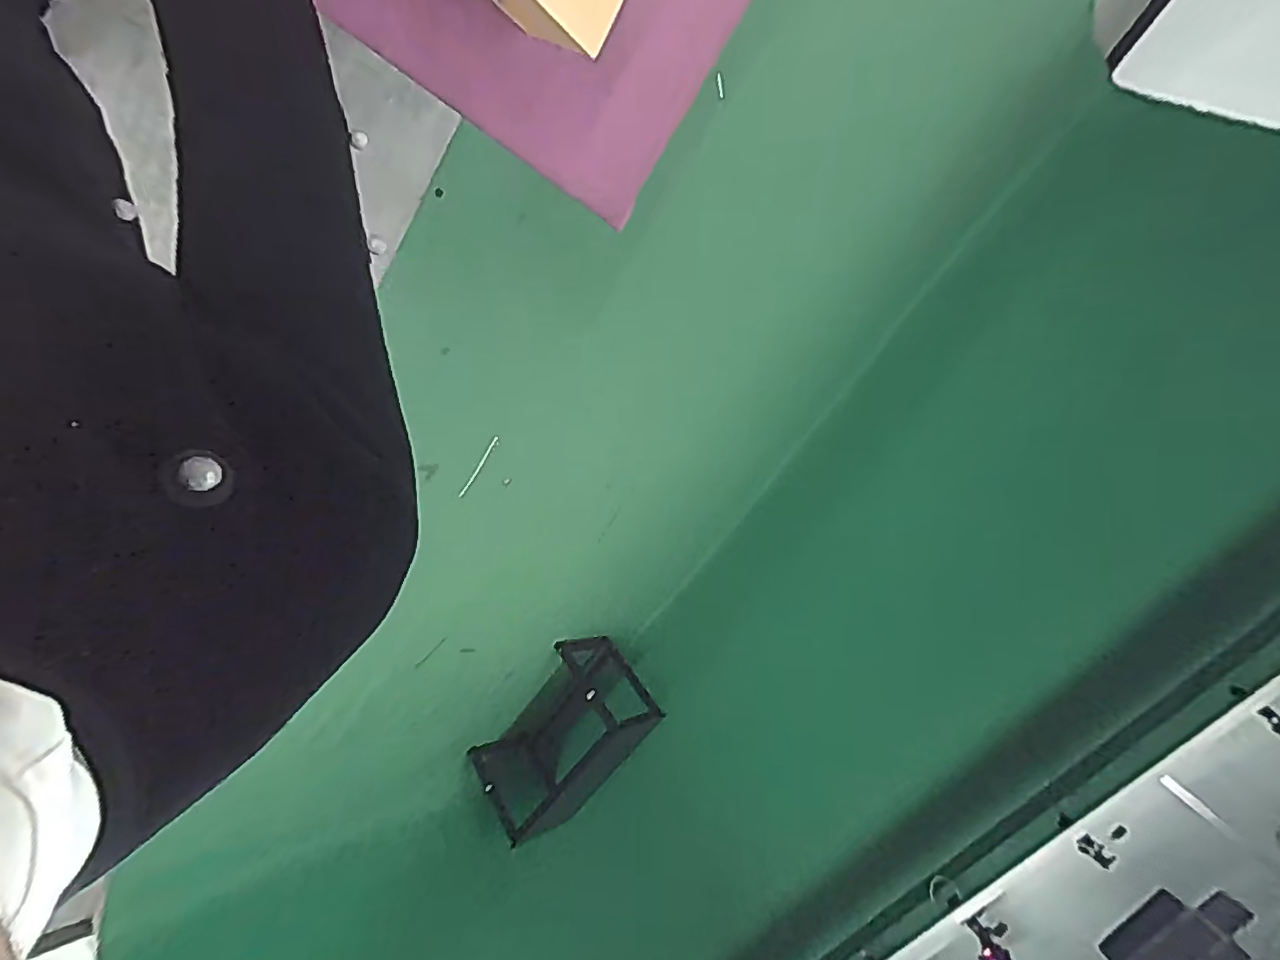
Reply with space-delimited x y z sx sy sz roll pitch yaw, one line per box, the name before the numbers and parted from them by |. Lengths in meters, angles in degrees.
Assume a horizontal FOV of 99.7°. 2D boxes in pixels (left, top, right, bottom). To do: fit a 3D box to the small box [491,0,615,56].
small box | -0.115 -0.629 0.599 0.168 0.176 0.179 8 121 -52
